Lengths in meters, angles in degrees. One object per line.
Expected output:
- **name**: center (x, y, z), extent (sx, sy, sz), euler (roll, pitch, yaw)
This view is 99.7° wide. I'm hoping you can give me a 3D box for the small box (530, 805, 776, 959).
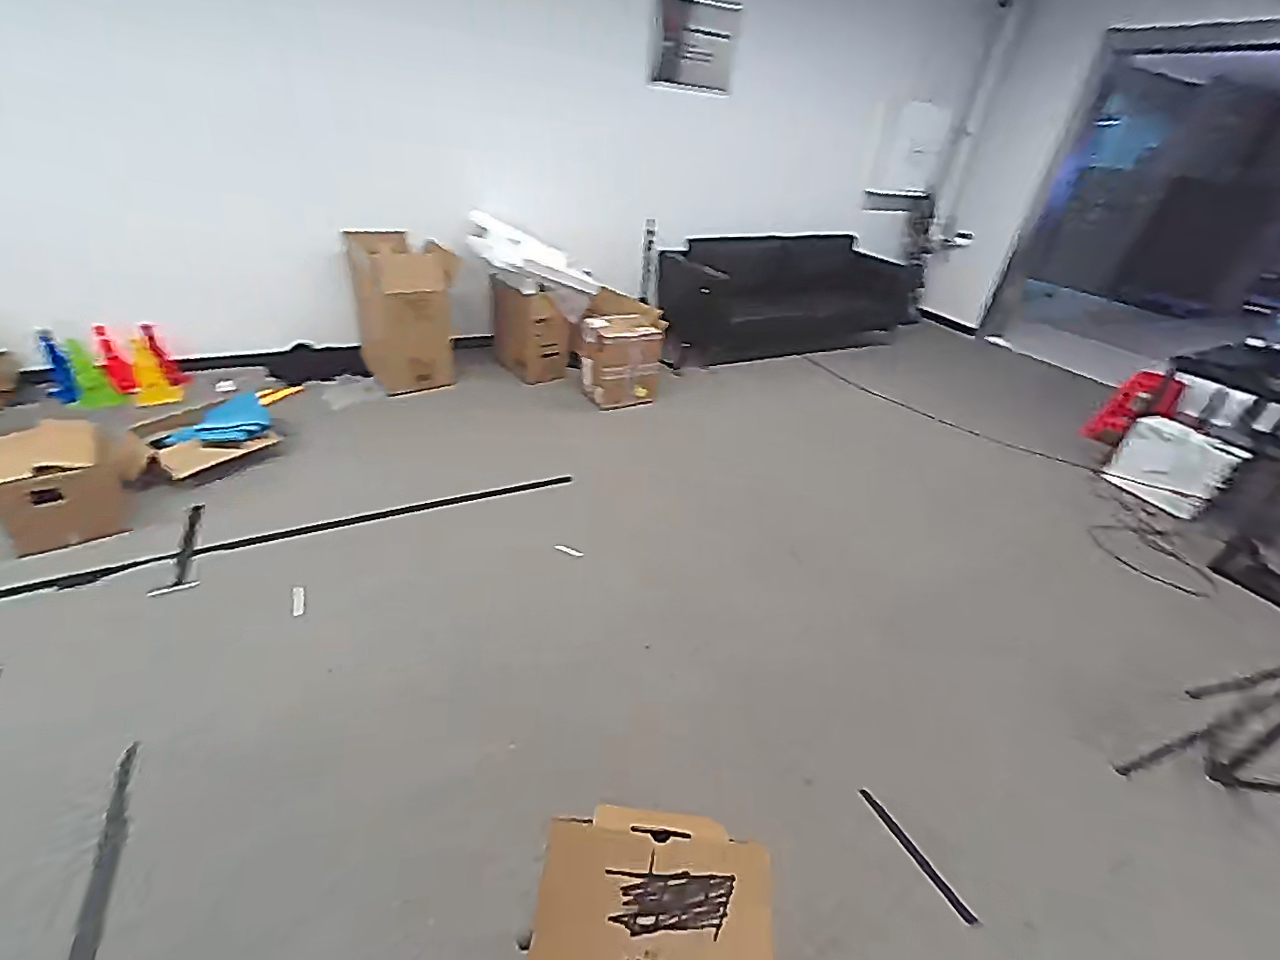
- **small box**: center (0.003, 0.369, 0.415), extent (0.168, 0.176, 0.179), euler (6, 53, 1)
